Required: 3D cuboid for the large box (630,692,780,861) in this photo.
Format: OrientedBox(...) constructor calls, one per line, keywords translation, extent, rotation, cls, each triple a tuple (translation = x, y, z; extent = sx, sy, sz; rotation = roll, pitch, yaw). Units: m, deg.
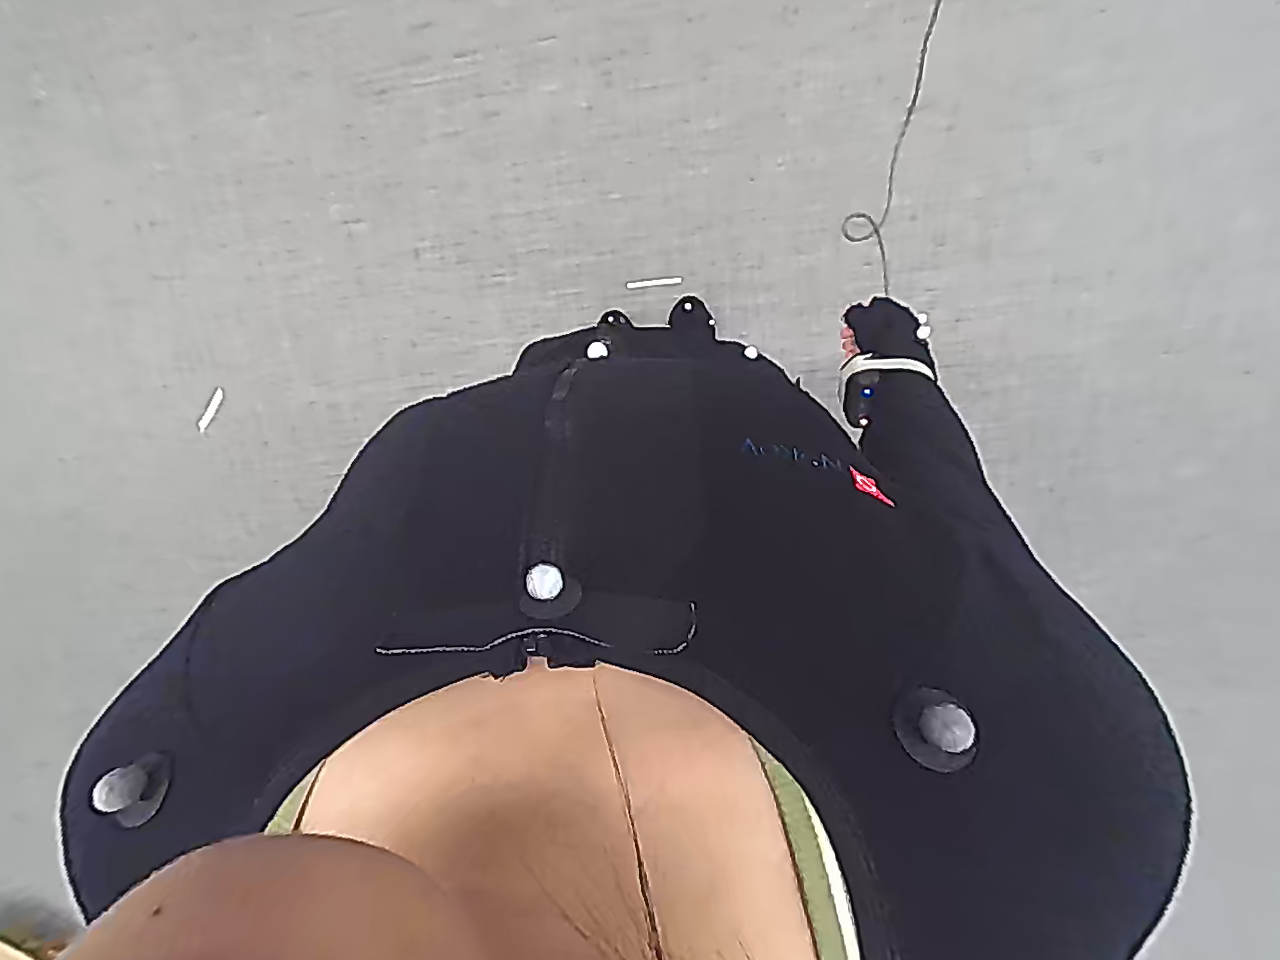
OrientedBox(translation=(0.183, 0.871, 1.623), extent=(0.408, 0.320, 0.320), rotation=(3, 107, 4), cls="large box")
